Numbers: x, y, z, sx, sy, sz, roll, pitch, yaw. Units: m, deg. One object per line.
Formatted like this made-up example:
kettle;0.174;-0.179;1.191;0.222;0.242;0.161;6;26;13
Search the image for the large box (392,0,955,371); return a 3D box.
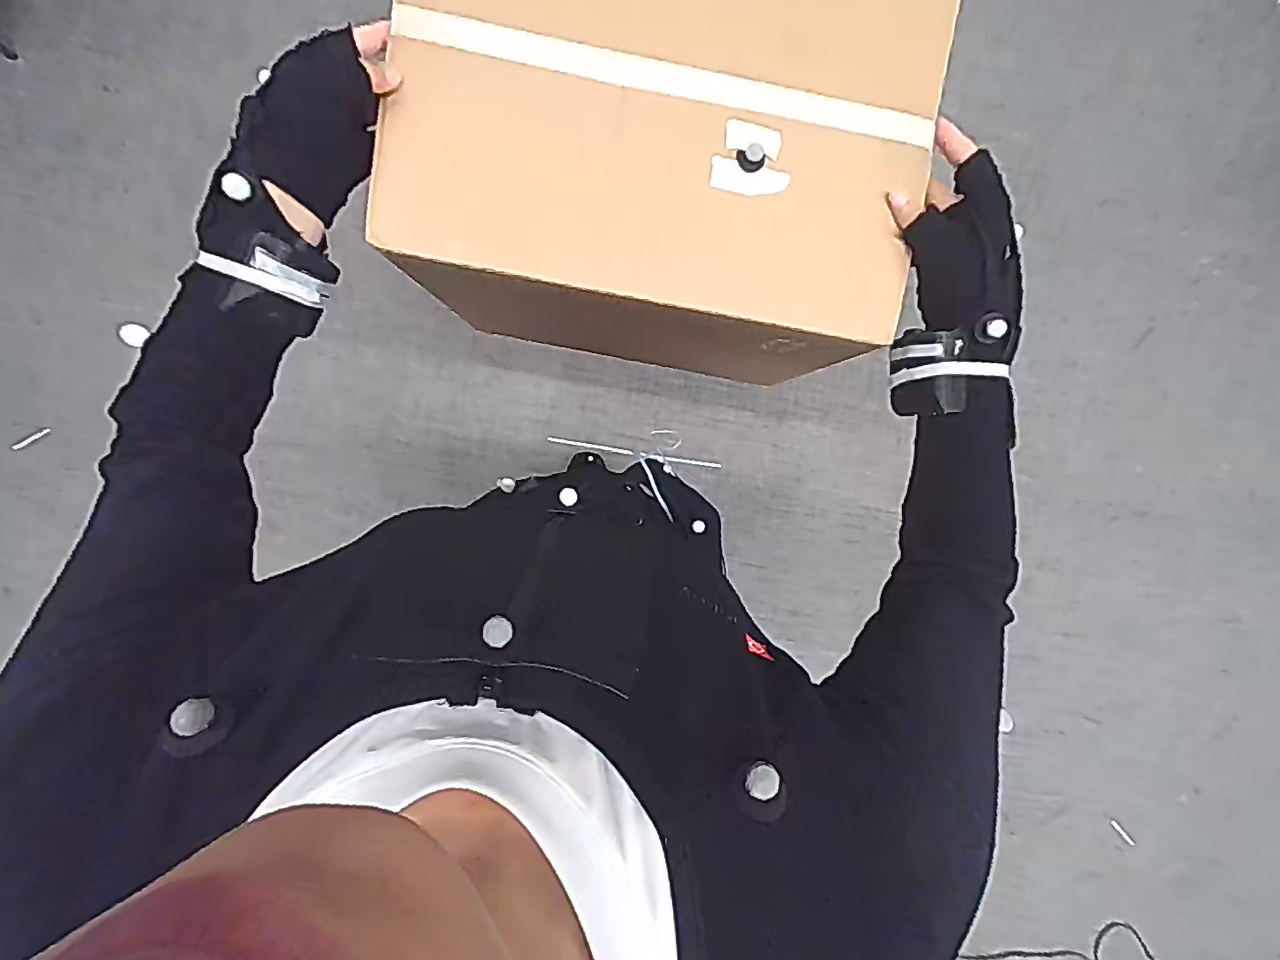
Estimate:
large box;0.021;-0.312;0.555;0.408;0.320;0.320;10;95;-4
